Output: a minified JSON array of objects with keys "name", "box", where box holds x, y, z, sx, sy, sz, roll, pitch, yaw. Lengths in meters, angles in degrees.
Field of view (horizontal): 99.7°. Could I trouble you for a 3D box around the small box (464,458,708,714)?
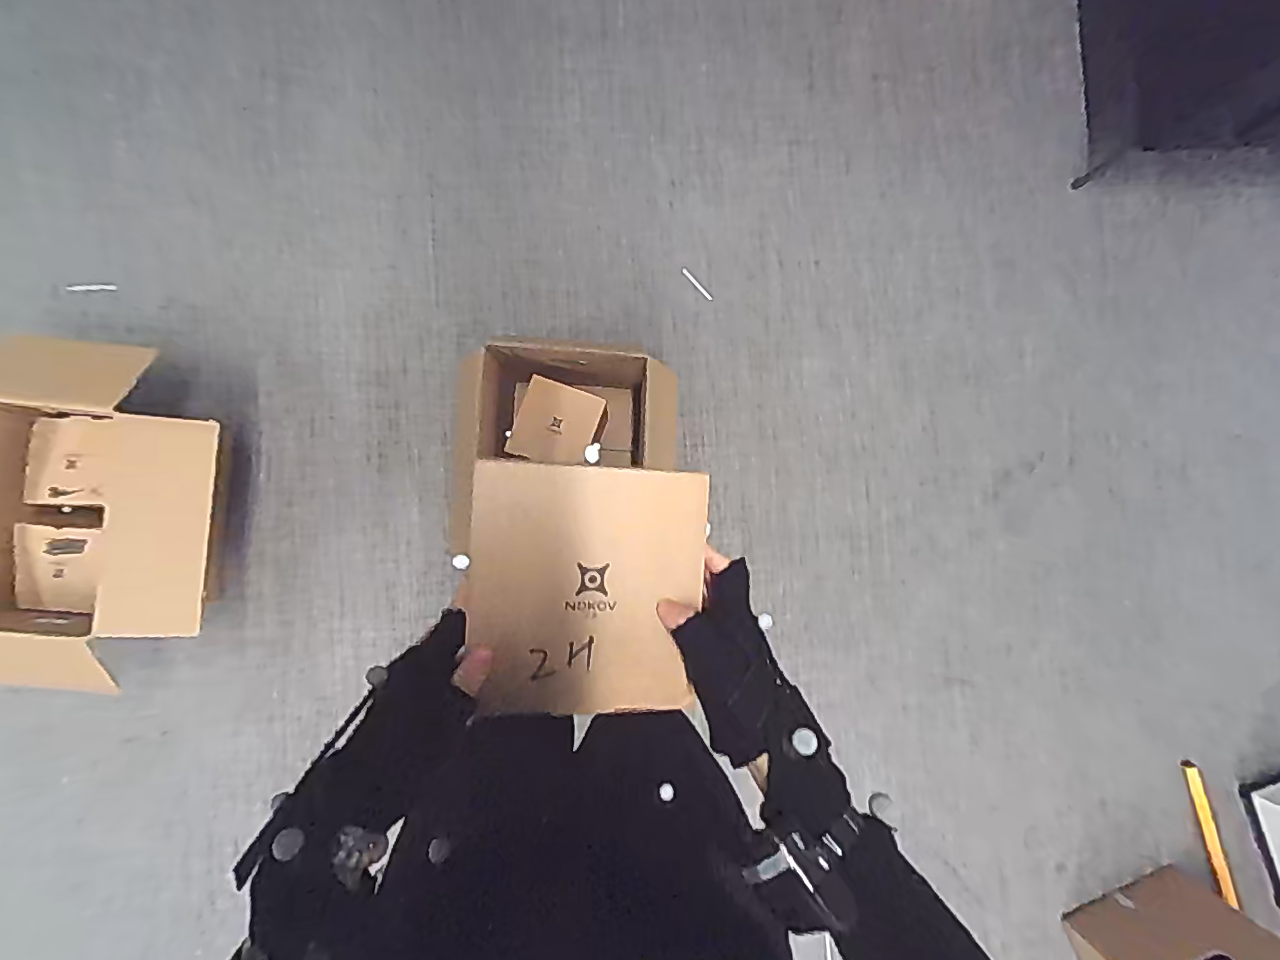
[{"name":"small box","box":[-0.051,0.075,0.459,0.168,0.176,0.179,4,91,-12]}]
